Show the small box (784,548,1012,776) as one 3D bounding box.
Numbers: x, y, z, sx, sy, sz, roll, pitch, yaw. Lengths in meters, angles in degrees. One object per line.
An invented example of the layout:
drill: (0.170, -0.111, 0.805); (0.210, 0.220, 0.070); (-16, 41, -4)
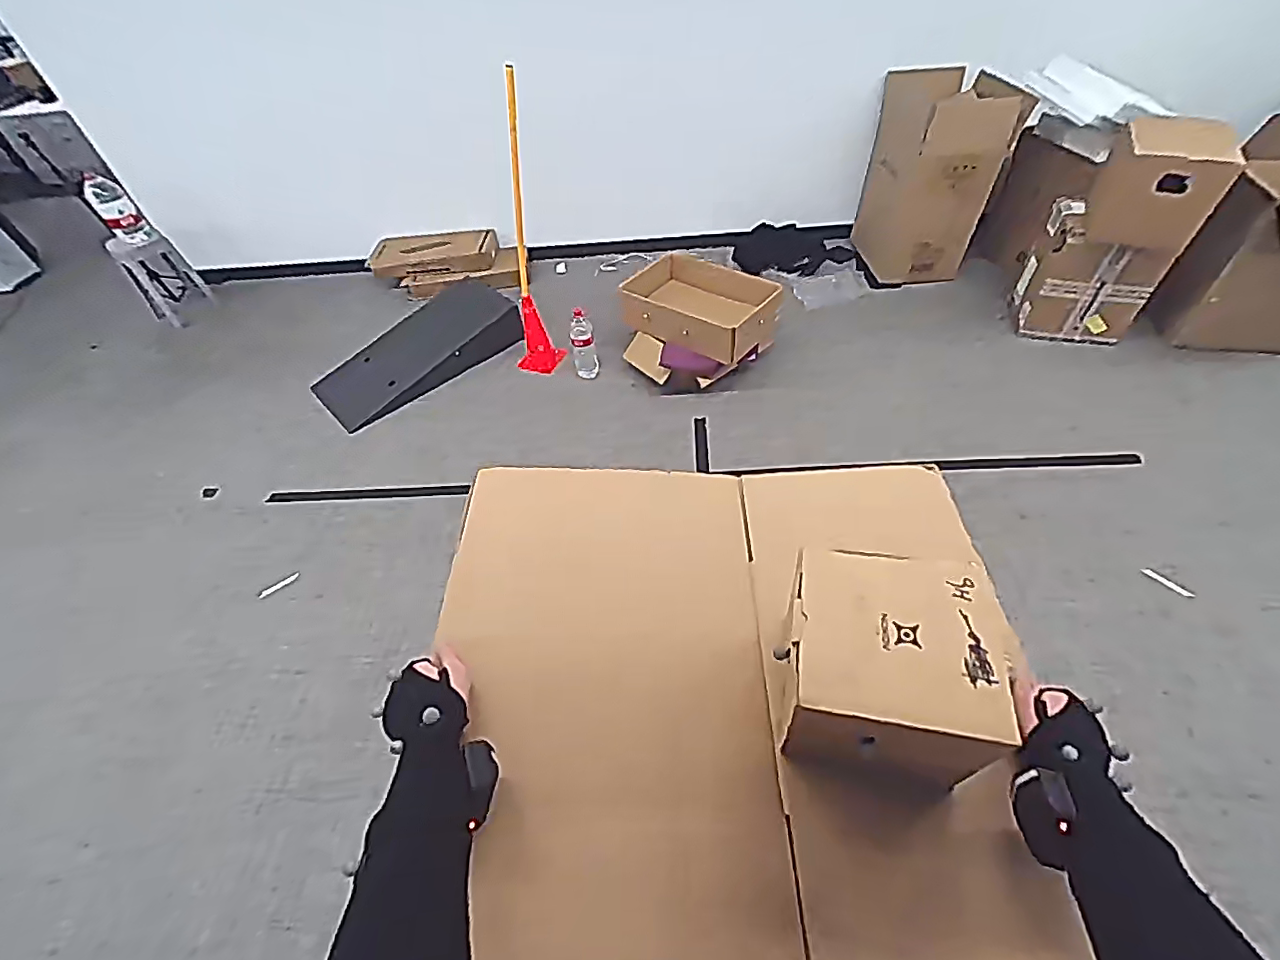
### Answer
small box: (0.247, 0.192, 0.565); (0.179, 0.176, 0.168); (5, 52, 14)
